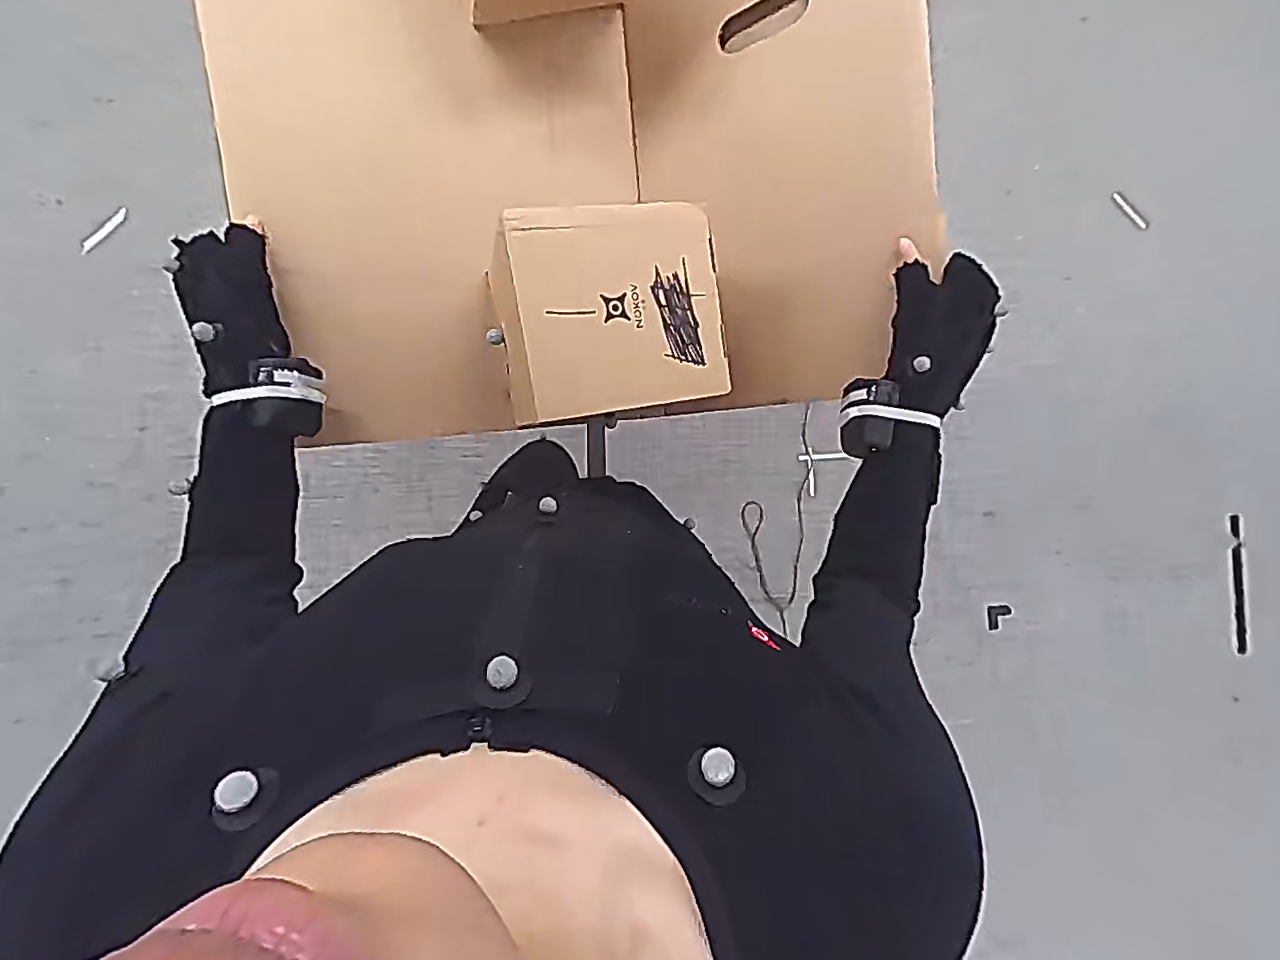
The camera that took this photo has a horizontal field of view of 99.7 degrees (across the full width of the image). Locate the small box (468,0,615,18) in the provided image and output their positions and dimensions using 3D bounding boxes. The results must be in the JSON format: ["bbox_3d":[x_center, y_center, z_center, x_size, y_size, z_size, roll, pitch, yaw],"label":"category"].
[{"bbox_3d":[-0.091,-0.557,0.477,0.179,0.176,0.168,-23,101,-17],"label":"small box"}]

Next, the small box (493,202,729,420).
[{"bbox_3d":[-0.037,-0.151,0.524,0.179,0.176,0.168,-11,98,-17],"label":"small box"}]
